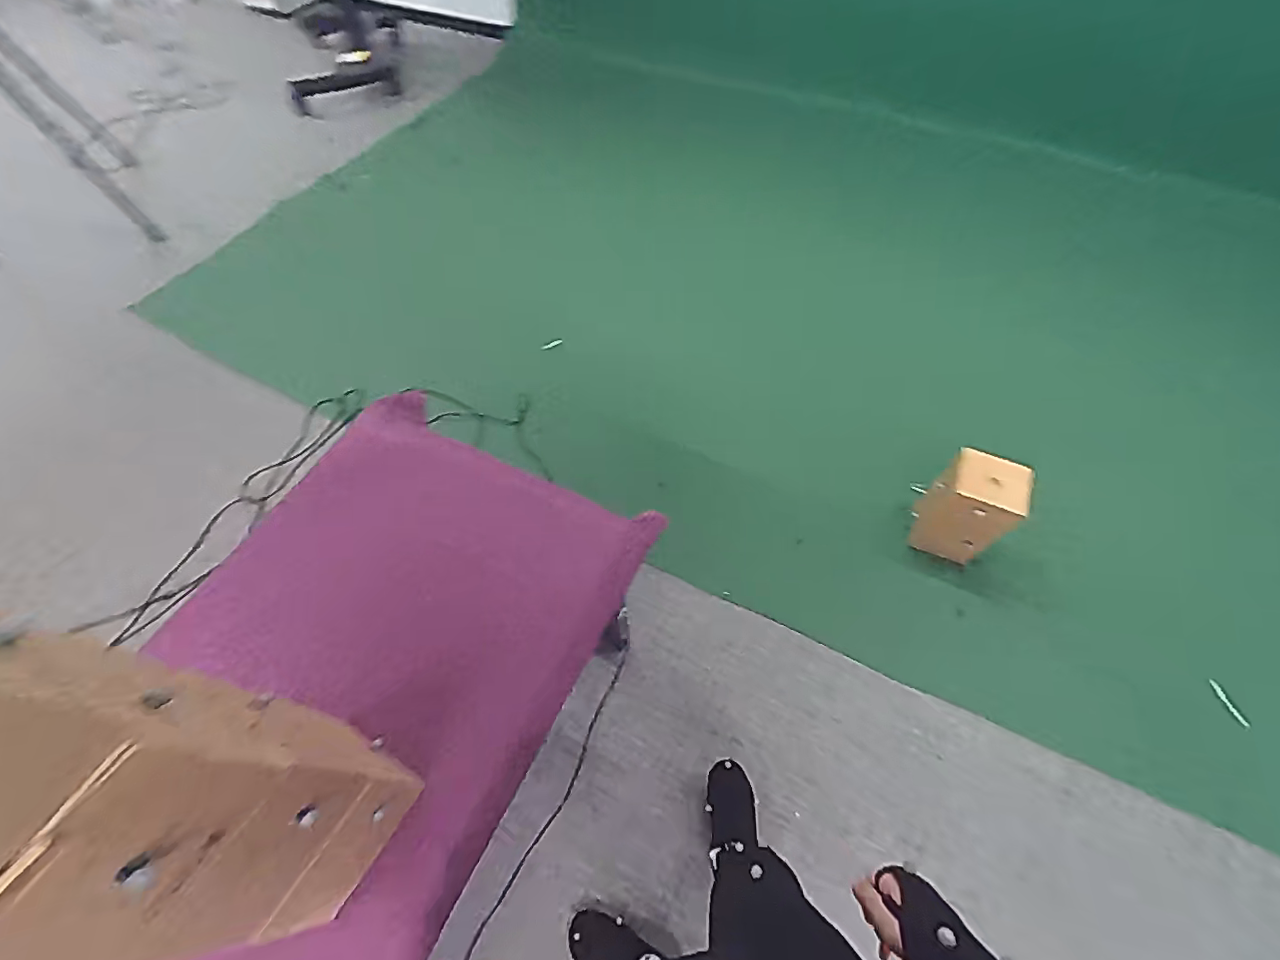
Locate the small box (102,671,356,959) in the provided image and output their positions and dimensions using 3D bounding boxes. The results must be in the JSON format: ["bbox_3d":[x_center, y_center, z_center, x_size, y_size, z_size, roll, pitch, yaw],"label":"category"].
[{"bbox_3d":[-0.416,0.324,0.532,0.168,0.176,0.179,25,62,17],"label":"small box"}]

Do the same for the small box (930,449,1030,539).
[{"bbox_3d":[0.959,0.046,1.532,0.179,0.176,0.168,20,61,14],"label":"small box"}]

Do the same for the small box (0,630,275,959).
[{"bbox_3d":[-0.426,0.233,0.397,0.179,0.176,0.168,26,61,17],"label":"small box"}]

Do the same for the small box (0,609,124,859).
[{"bbox_3d":[-0.432,0.142,0.260,0.168,0.176,0.179,23,60,16],"label":"small box"}]

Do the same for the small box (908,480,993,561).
[{"bbox_3d":[0.961,0.132,1.670,0.179,0.176,0.168,19,60,13],"label":"small box"}]
